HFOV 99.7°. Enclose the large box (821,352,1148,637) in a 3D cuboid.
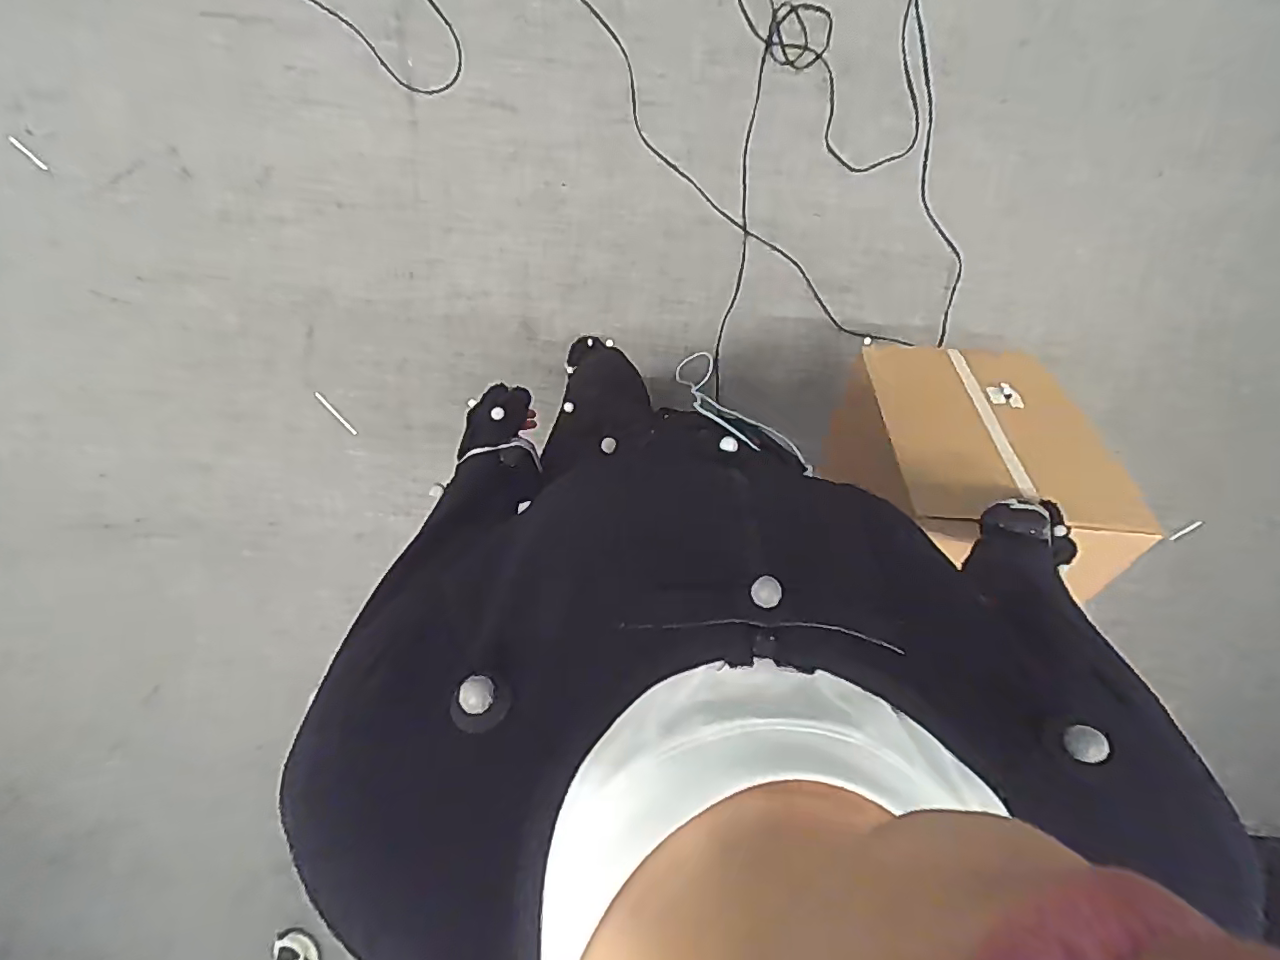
[{"bbox_3d":[0.532,0.020,0.955,0.320,0.408,0.320,4,136,3],"label":"large box"}]
